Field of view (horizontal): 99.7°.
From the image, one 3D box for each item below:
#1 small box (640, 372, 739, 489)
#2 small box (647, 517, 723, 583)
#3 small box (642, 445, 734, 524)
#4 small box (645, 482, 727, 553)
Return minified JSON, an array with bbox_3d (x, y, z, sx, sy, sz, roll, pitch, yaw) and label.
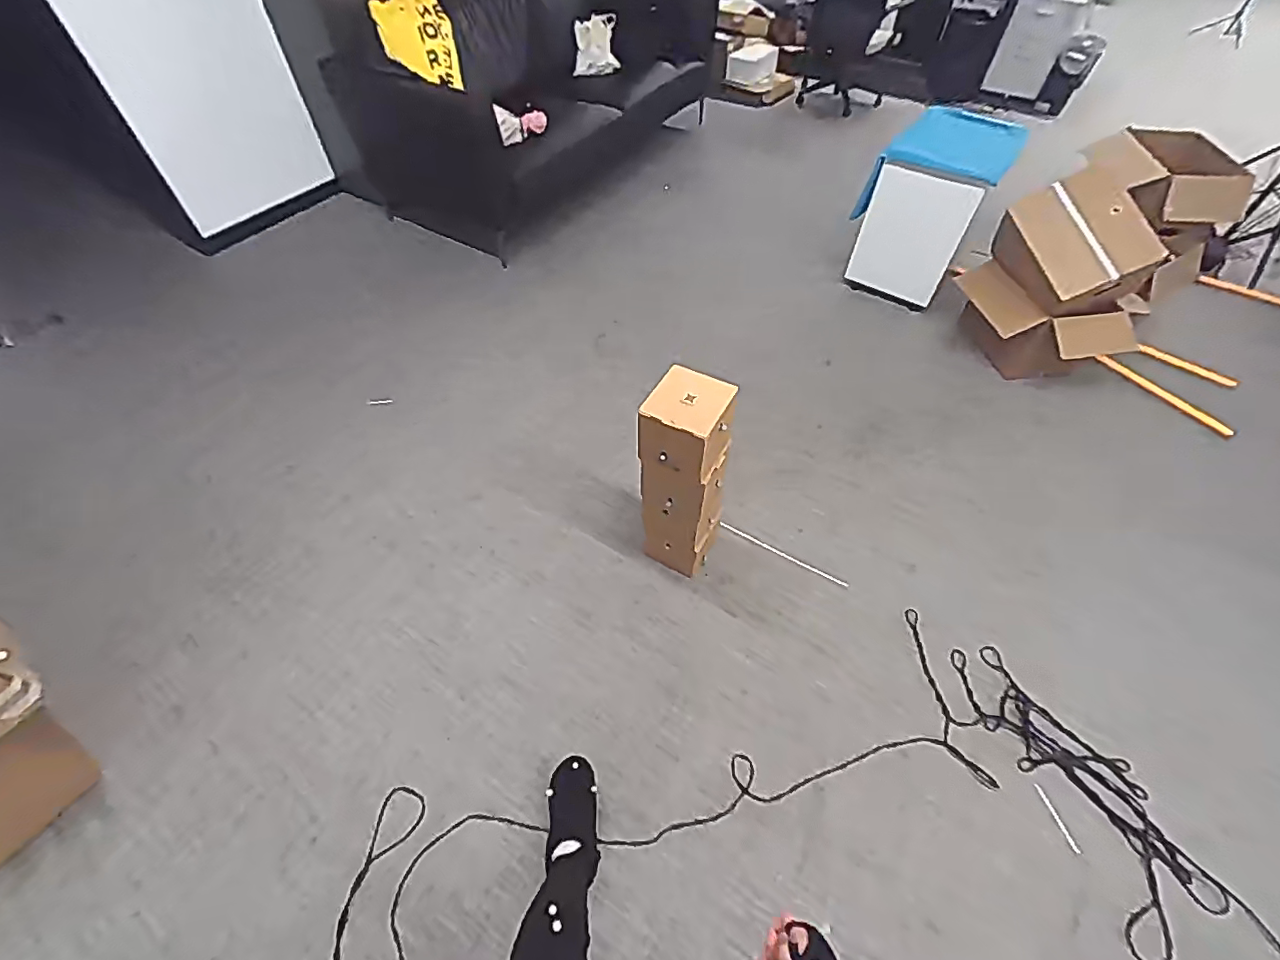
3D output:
[{"bbox_3d":[0.111,-0.113,1.251,0.168,0.176,0.179,23,57,18],"label":"small box"},{"bbox_3d":[0.132,0.184,1.642,0.179,0.176,0.168,26,56,19],"label":"small box"},{"bbox_3d":[0.117,-0.011,1.380,0.179,0.176,0.168,24,56,17],"label":"small box"},{"bbox_3d":[0.123,0.078,1.517,0.179,0.176,0.168,26,57,19],"label":"small box"}]
